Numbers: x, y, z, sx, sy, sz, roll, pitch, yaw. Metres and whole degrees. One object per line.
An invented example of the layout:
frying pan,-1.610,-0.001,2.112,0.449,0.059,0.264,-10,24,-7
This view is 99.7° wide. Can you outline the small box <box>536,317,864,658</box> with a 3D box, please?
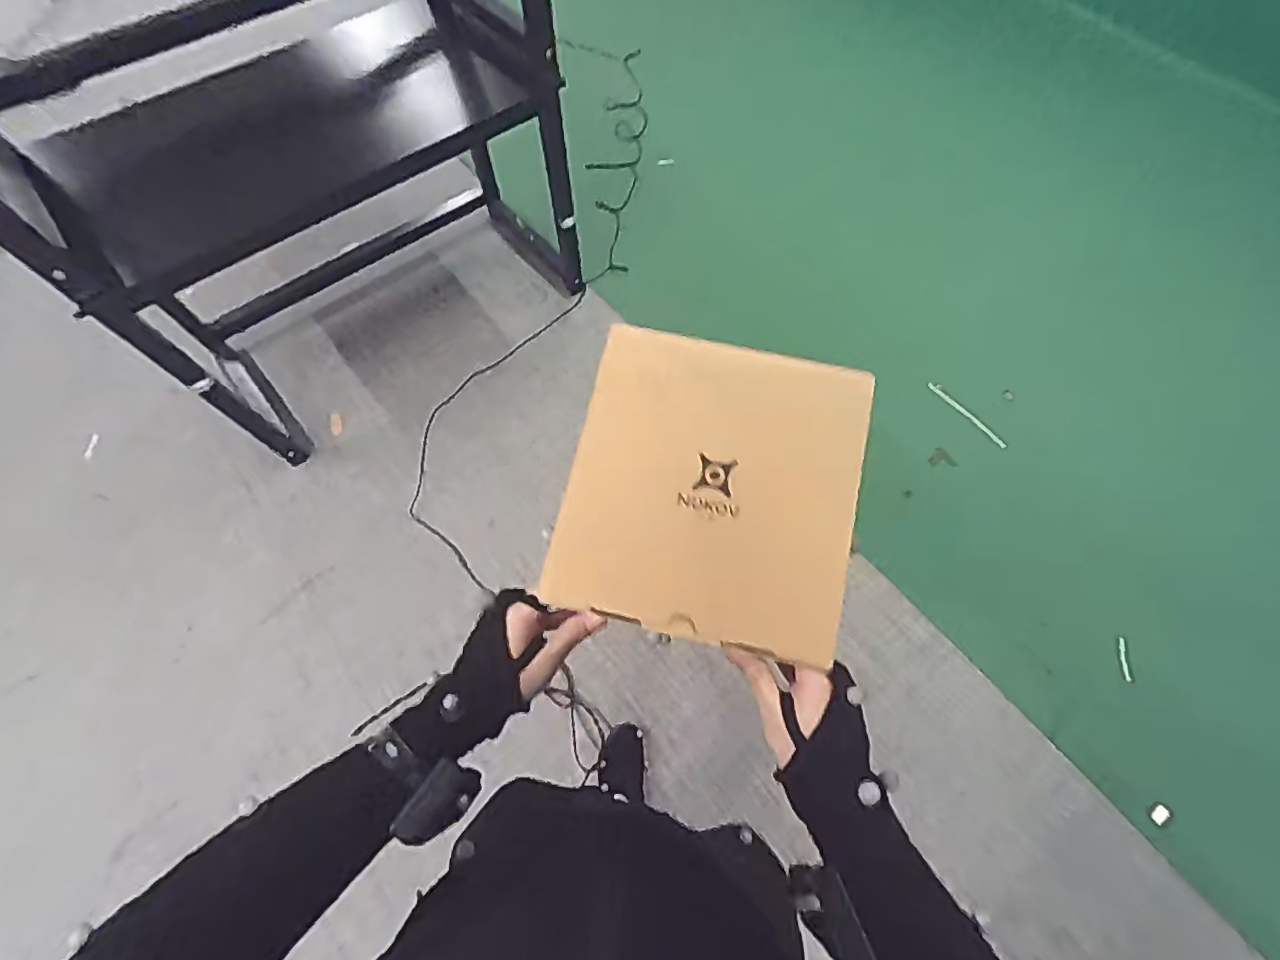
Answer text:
small box,0.040,0.015,0.390,0.168,0.176,0.179,12,77,5
